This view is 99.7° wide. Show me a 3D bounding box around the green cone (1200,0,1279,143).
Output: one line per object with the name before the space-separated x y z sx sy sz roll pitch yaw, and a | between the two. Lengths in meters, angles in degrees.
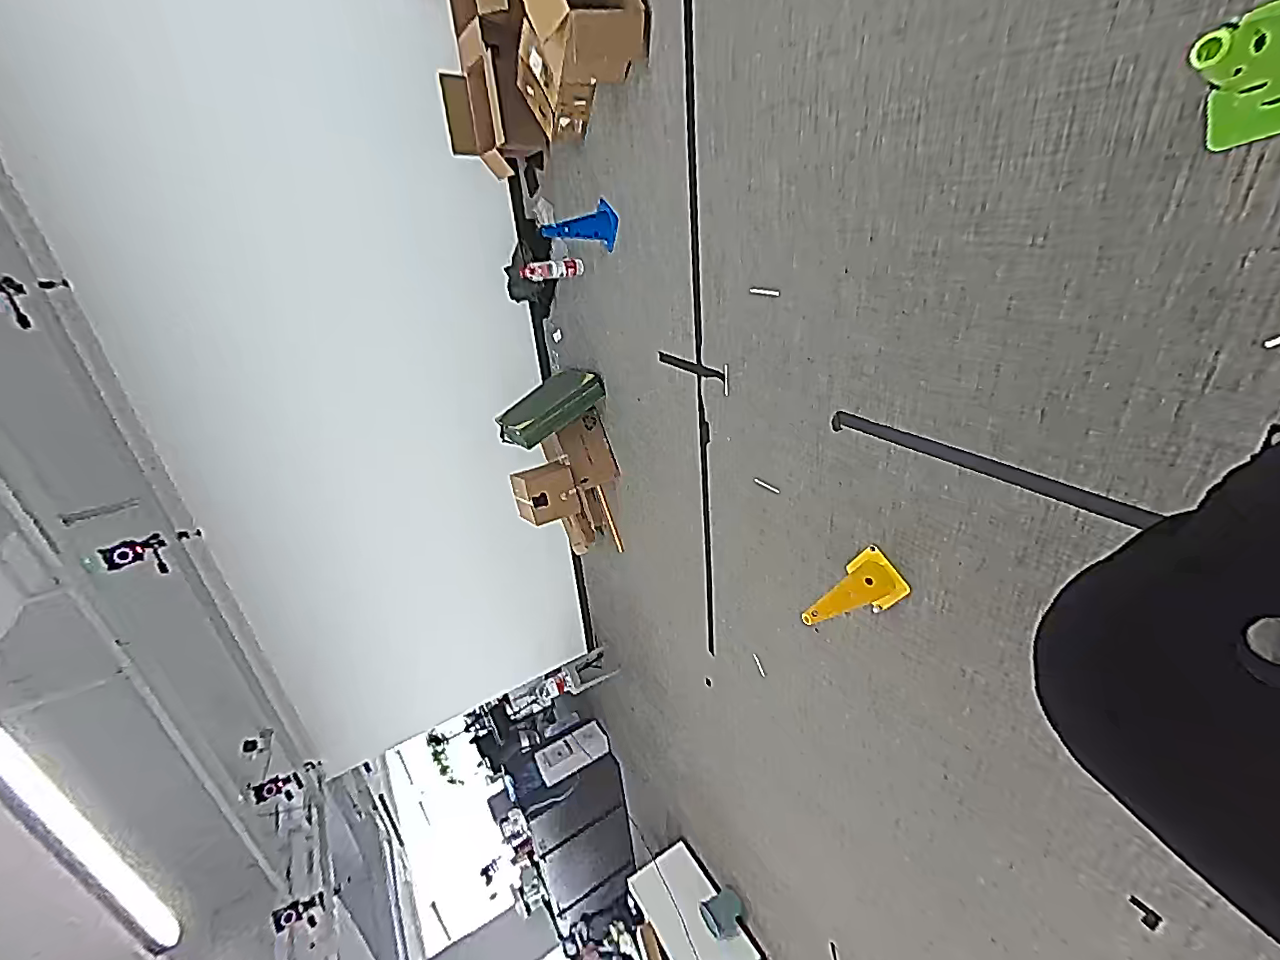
green cone | 0.900 -0.625 0.784 0.202 0.368 0.200 11 118 60
